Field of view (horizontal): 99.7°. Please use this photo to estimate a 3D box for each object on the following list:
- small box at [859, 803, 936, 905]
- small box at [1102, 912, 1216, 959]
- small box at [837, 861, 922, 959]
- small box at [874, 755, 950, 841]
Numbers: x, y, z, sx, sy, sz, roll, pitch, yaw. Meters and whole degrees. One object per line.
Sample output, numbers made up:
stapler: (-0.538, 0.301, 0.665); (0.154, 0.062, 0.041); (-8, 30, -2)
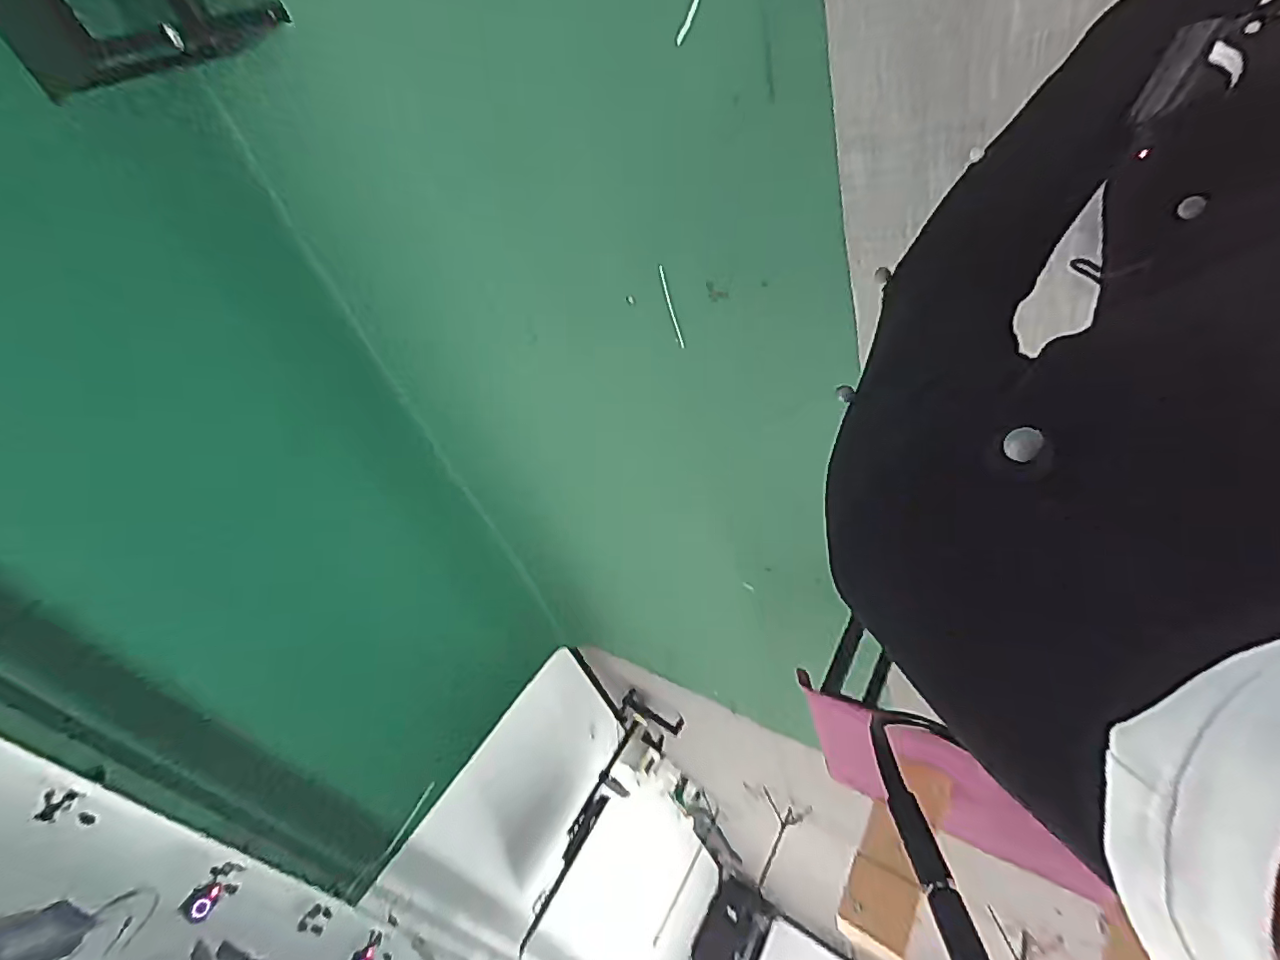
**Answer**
small box: (0.752, 1.086, 1.581); (0.179, 0.176, 0.168); (12, 137, 33)
small box: (1.162, 1.121, 1.218); (0.179, 0.176, 0.168); (7, 135, 39)
small box: (0.659, 1.189, 1.490); (0.179, 0.176, 0.168); (12, 138, 33)
small box: (0.842, 0.990, 1.679); (0.179, 0.176, 0.168); (12, 137, 33)
